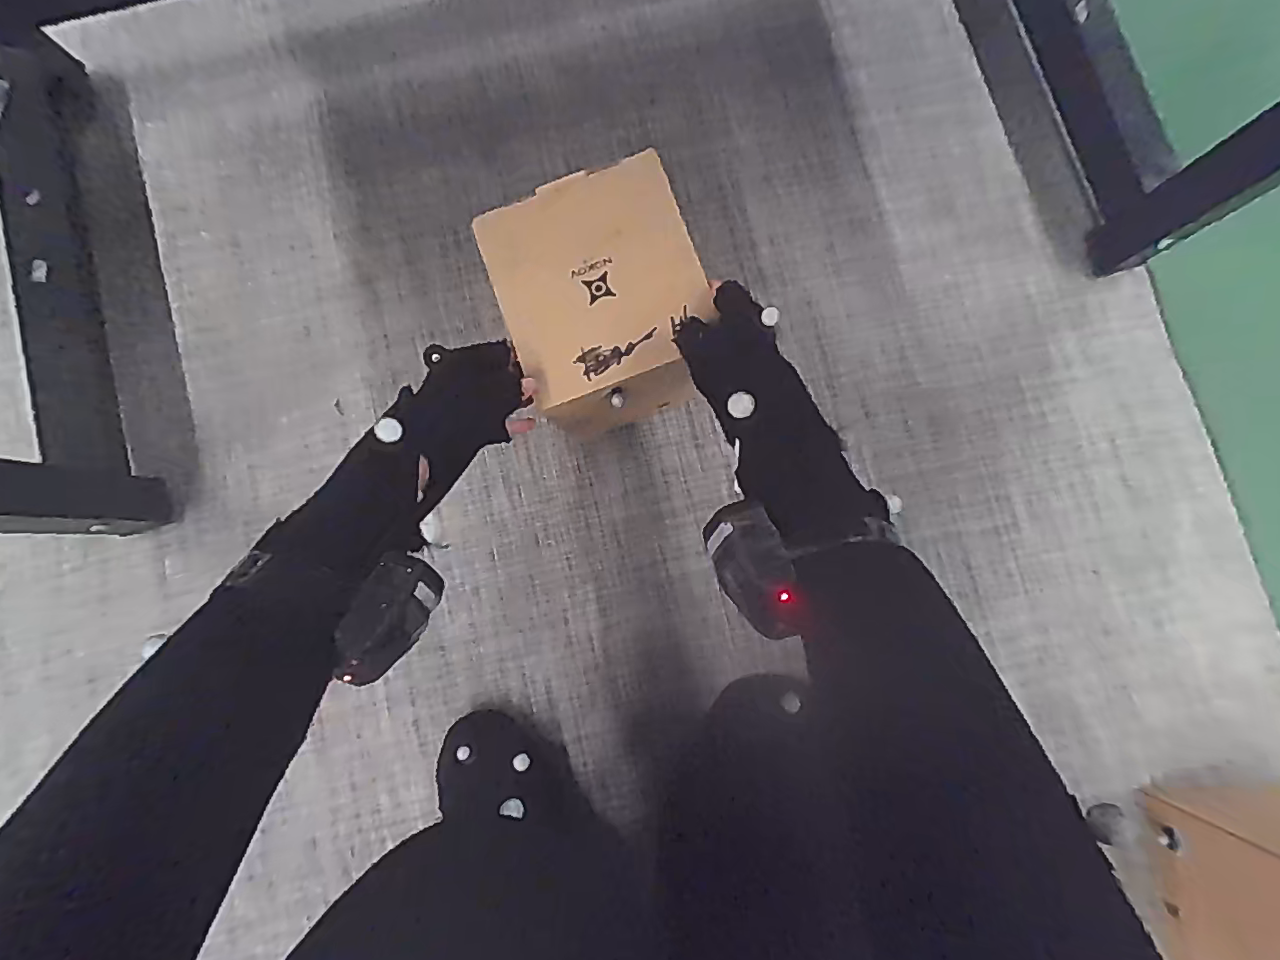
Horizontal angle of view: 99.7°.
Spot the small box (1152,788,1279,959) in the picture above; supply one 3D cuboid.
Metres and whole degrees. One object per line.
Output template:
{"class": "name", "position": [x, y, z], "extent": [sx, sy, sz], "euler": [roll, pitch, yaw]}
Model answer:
{"class": "small box", "position": [0.603, 0.391, 0.471], "extent": [0.179, 0.176, 0.168], "euler": [-3, 83, -1]}
